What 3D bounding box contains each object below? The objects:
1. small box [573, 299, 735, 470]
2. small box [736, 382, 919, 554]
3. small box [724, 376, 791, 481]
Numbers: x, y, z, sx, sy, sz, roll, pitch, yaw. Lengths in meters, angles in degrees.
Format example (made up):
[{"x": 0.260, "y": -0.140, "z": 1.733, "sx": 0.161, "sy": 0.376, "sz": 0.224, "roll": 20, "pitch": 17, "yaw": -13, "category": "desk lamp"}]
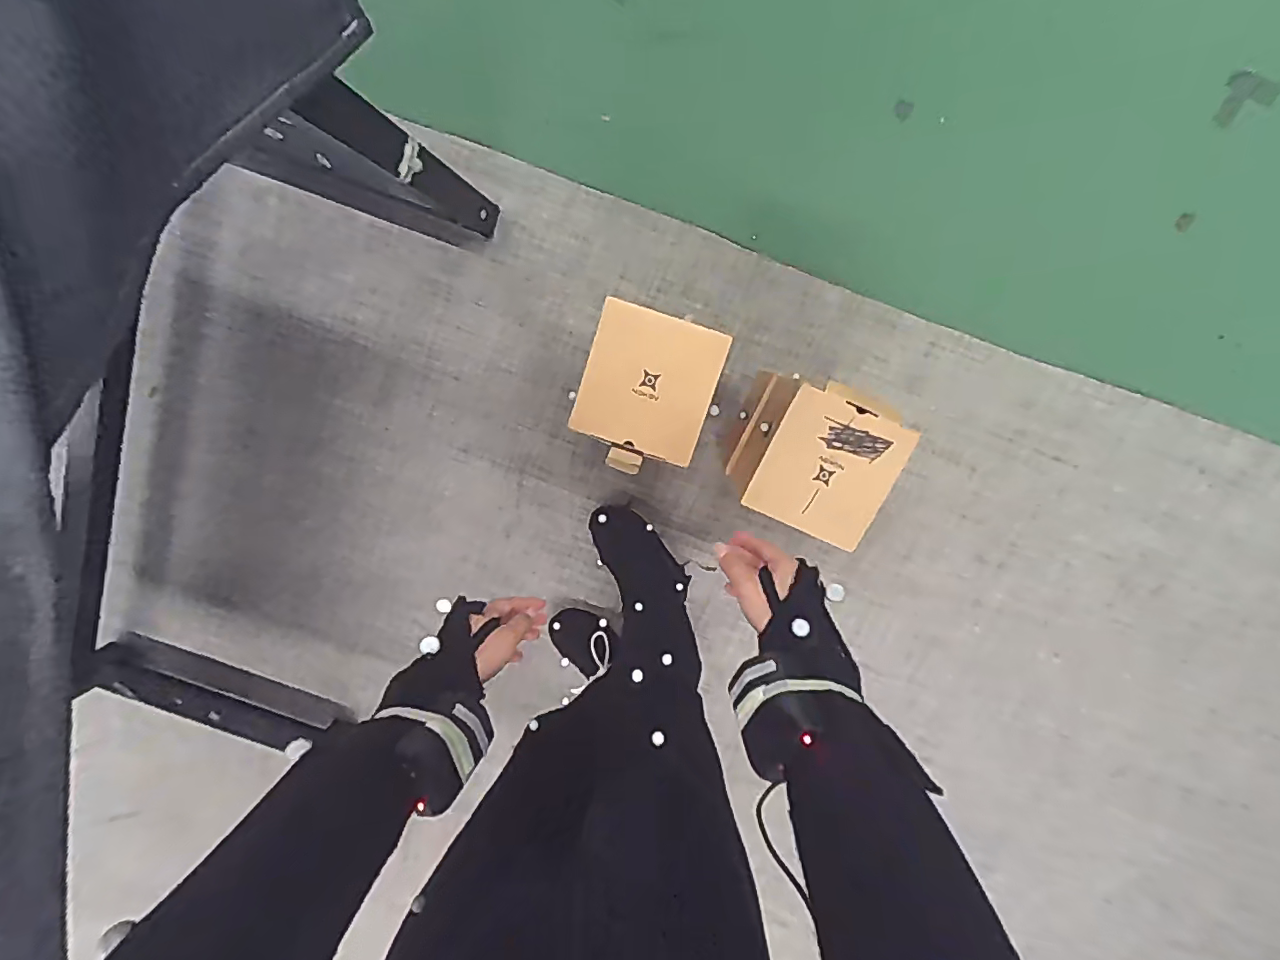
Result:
[{"x": 0.019, "y": -0.134, "z": 0.758, "sx": 0.168, "sy": 0.176, "sz": 0.179, "roll": 18, "pitch": 103, "yaw": 0, "category": "small box"}, {"x": 0.247, "y": -0.029, "z": 0.766, "sx": 0.168, "sy": 0.176, "sz": 0.179, "roll": 25, "pitch": 104, "yaw": 0, "category": "small box"}, {"x": 0.252, "y": -0.068, "z": 0.926, "sx": 0.168, "sy": 0.176, "sz": 0.179, "roll": 25, "pitch": 104, "yaw": -1, "category": "small box"}]
